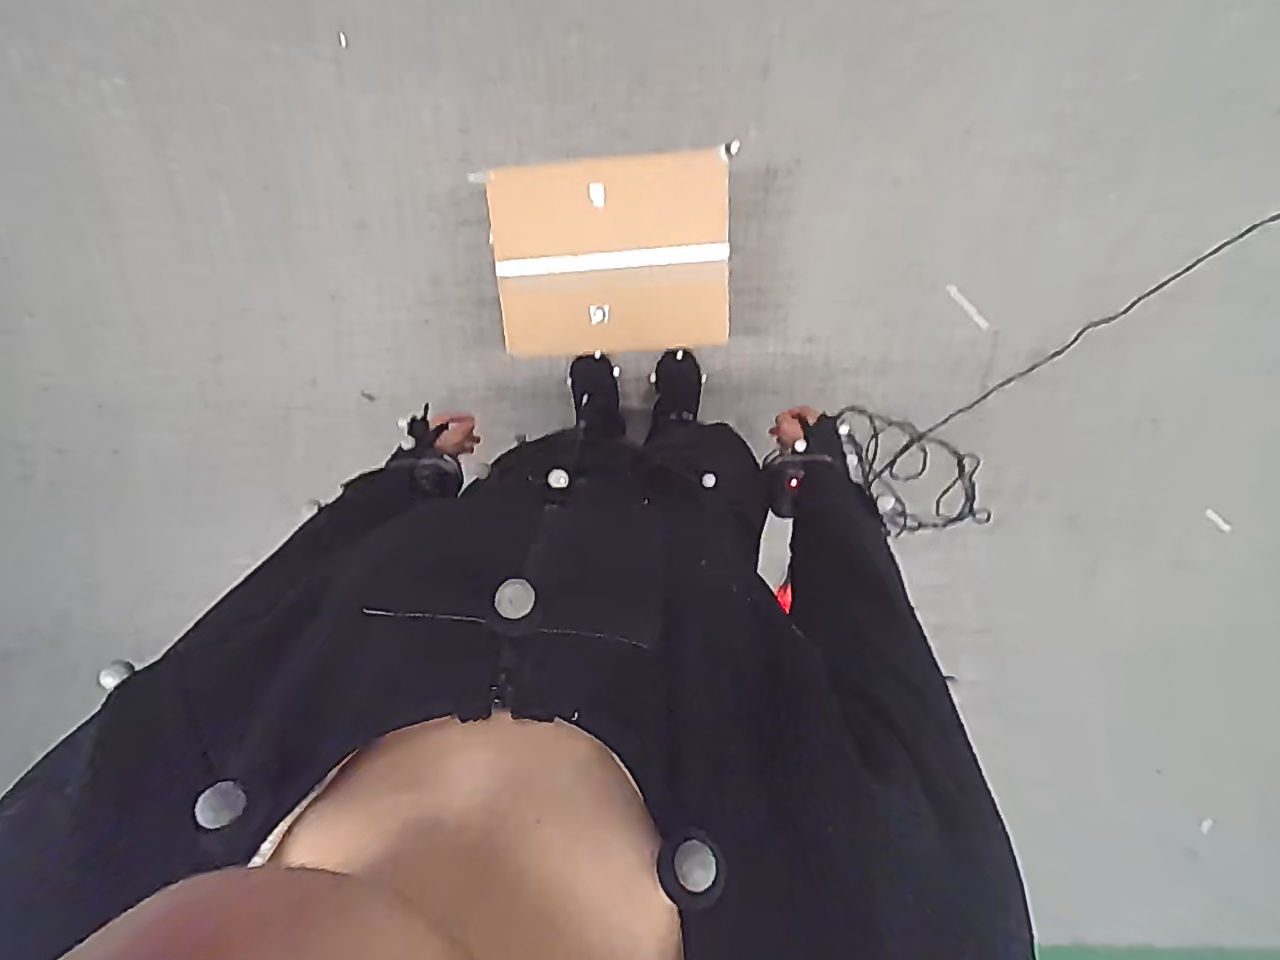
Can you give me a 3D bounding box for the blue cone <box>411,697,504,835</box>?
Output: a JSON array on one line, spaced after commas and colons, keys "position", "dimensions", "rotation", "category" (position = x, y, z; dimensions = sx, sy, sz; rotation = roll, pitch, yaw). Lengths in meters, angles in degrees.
[{"position": [-0.523, 0.792, 1.493], "dimensions": [0.192, 0.380, 0.193], "rotation": [0, 109, 4], "category": "blue cone"}]
